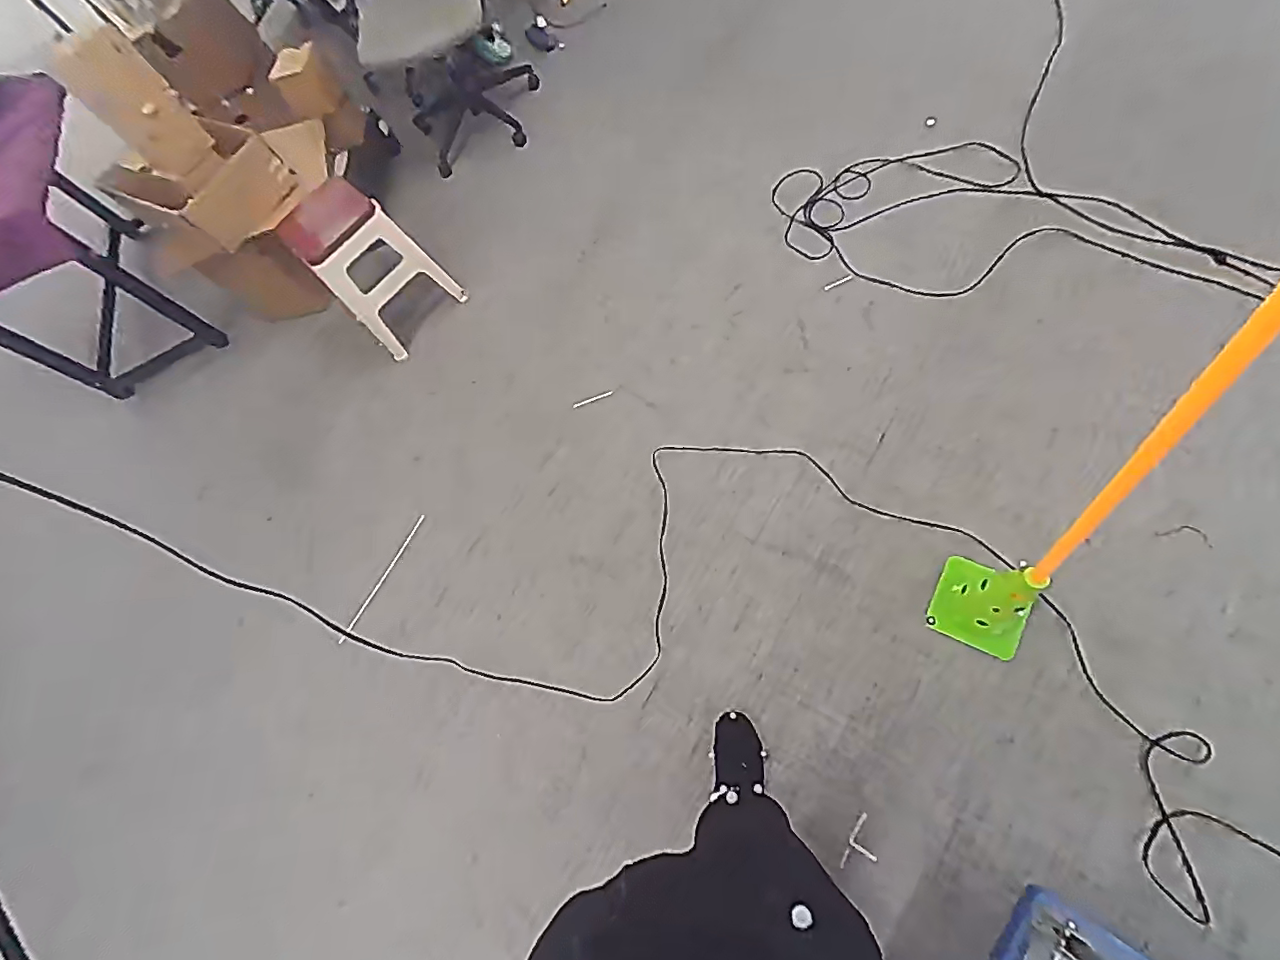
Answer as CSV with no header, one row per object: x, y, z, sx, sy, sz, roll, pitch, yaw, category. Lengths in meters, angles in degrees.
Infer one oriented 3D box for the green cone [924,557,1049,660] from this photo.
0.779,0.243,1.158,0.200,0.368,0.202,22,75,22,green cone
